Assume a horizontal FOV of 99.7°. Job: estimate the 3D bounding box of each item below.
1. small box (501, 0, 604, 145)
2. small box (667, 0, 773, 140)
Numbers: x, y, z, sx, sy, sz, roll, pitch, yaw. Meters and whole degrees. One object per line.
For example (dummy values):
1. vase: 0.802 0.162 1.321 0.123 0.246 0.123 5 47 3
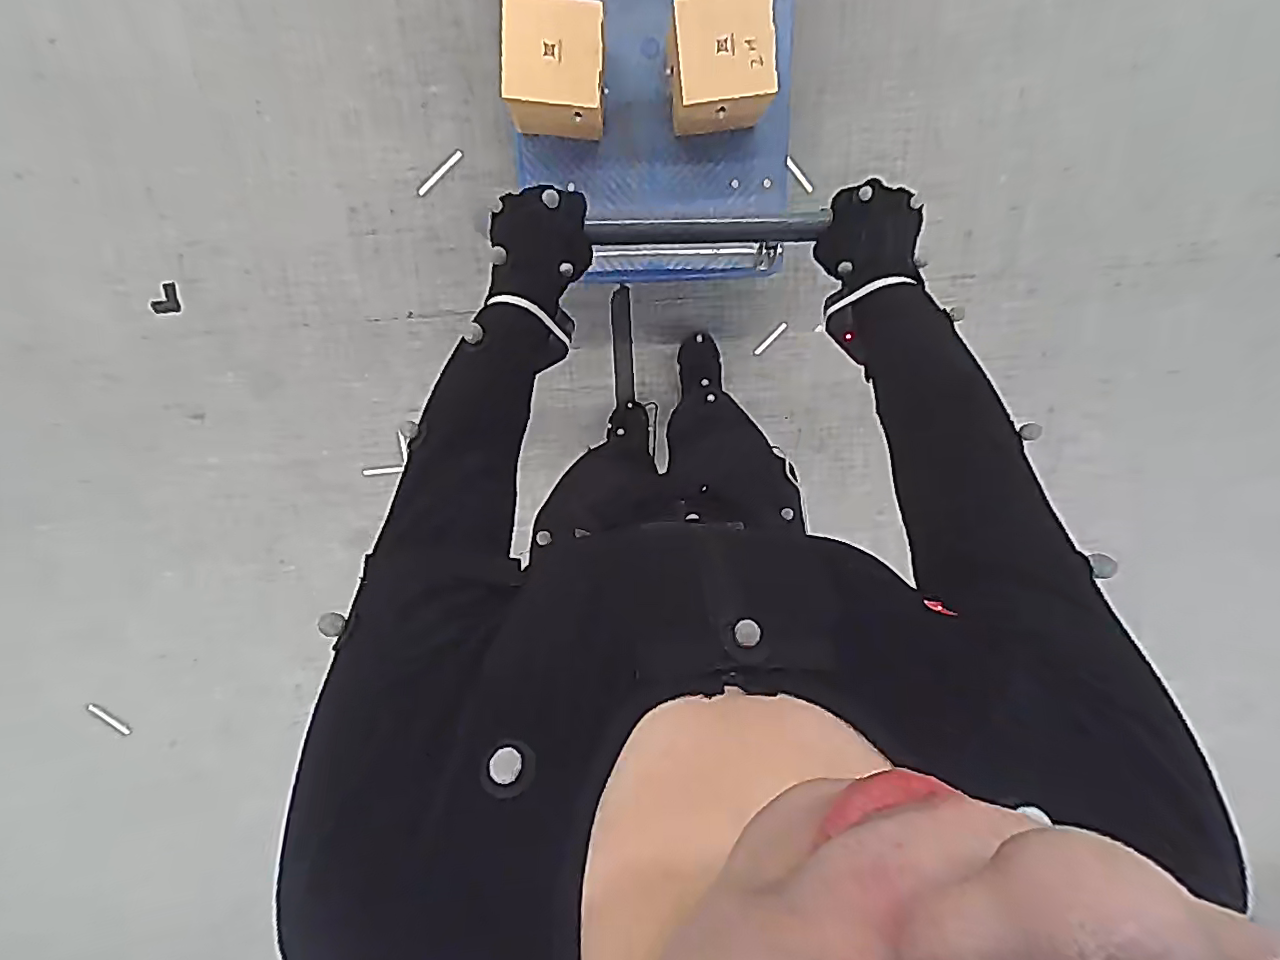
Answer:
1. small box: -0.161 -0.763 1.031 0.179 0.176 0.168 3 105 -5
2. small box: 0.146 -0.777 1.039 0.179 0.176 0.168 -7 106 0
